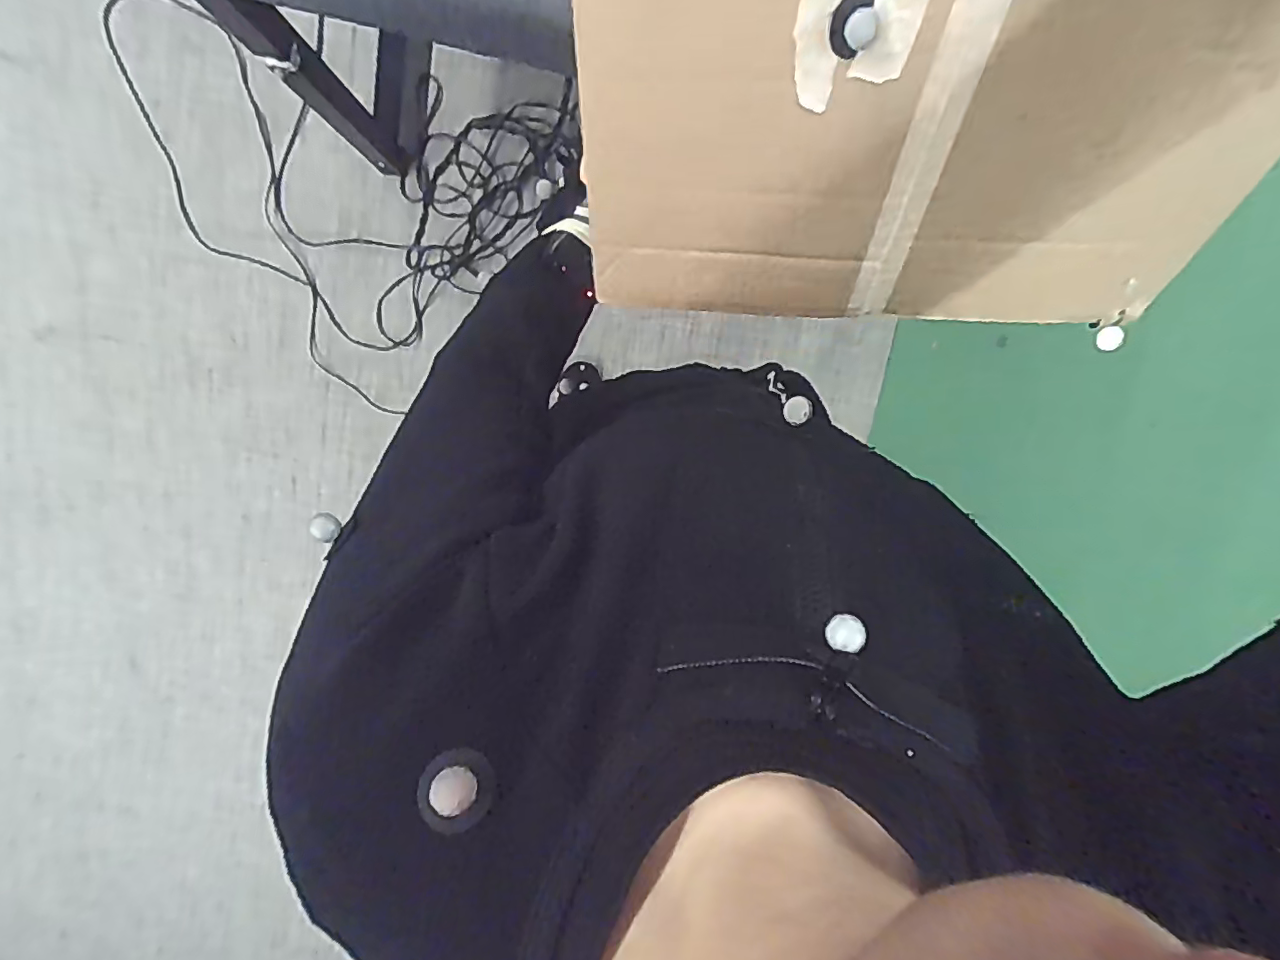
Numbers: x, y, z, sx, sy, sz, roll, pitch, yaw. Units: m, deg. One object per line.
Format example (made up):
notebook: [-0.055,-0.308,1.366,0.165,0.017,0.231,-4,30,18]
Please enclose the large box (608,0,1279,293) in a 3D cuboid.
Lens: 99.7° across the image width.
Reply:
large box: [0.146,-0.356,0.259,0.320,0.320,0.408,3,144,3]
